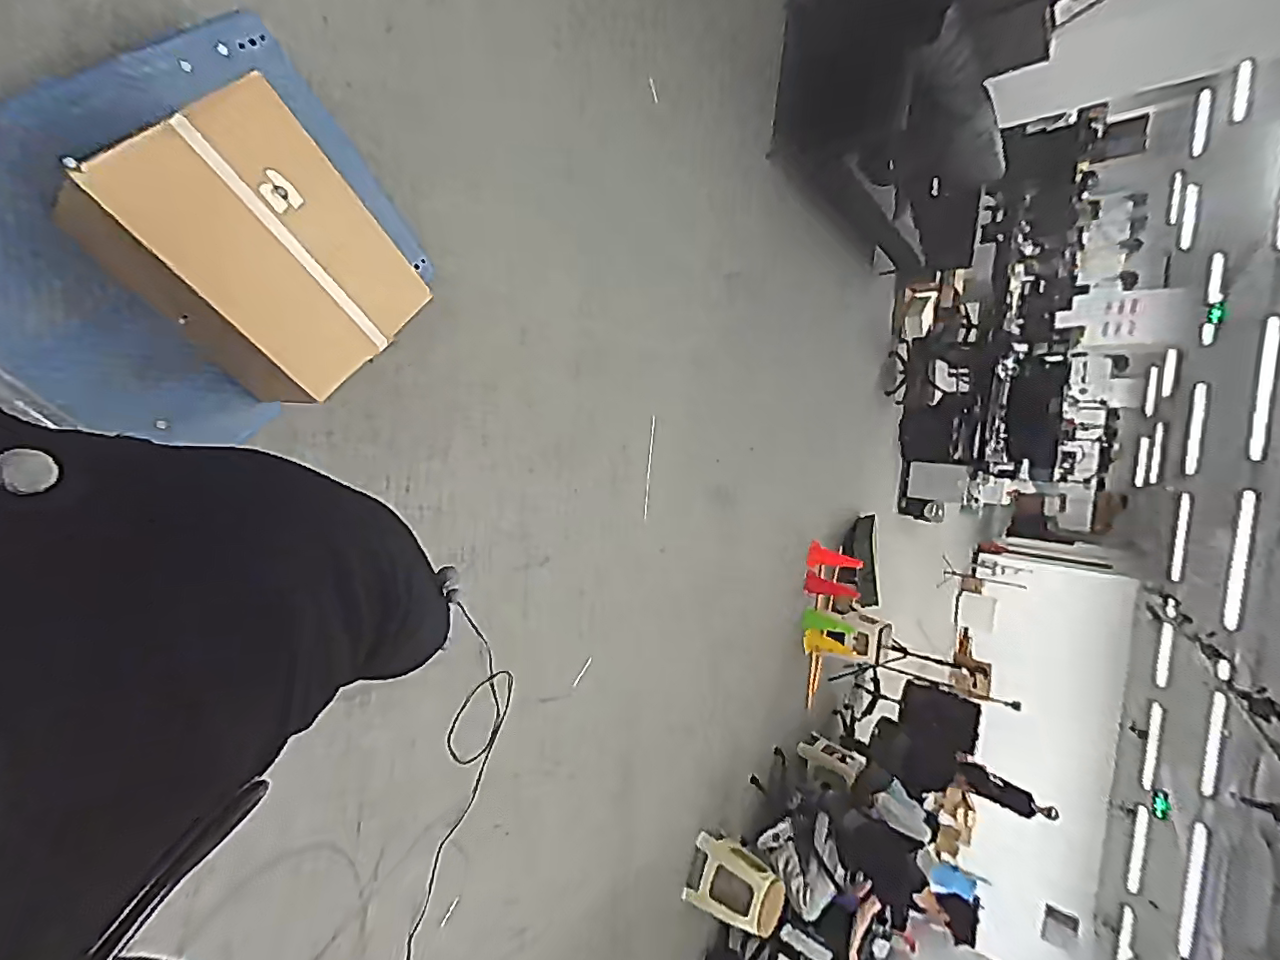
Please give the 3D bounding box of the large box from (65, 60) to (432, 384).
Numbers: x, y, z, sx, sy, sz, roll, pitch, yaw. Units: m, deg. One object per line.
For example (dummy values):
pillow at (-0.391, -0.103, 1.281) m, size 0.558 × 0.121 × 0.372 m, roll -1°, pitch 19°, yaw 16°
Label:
large box at (-0.684, -0.424, 0.985) m, size 0.320 × 0.320 × 0.408 m, roll -58°, pitch 134°, yaw -26°
